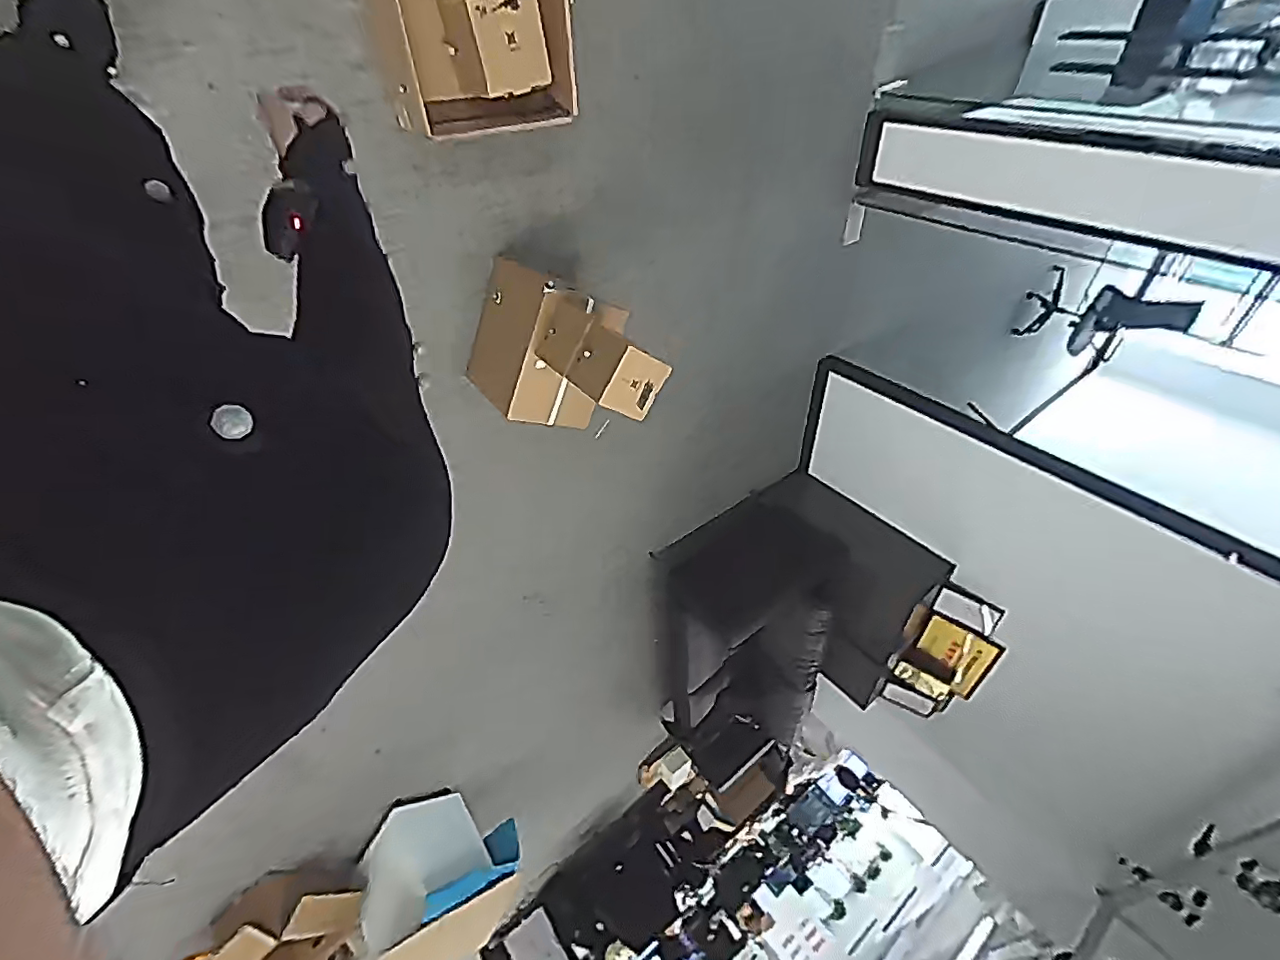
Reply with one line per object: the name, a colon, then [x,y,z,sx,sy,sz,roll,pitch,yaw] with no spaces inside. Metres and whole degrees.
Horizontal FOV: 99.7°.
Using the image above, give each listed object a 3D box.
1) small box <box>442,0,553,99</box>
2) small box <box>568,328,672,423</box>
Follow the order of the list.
small box: [-0.323,-0.997,1.233,0.168,0.176,0.179,-30,139,-22]
small box: [-0.055,-0.275,1.421,0.179,0.176,0.168,16,110,-48]
